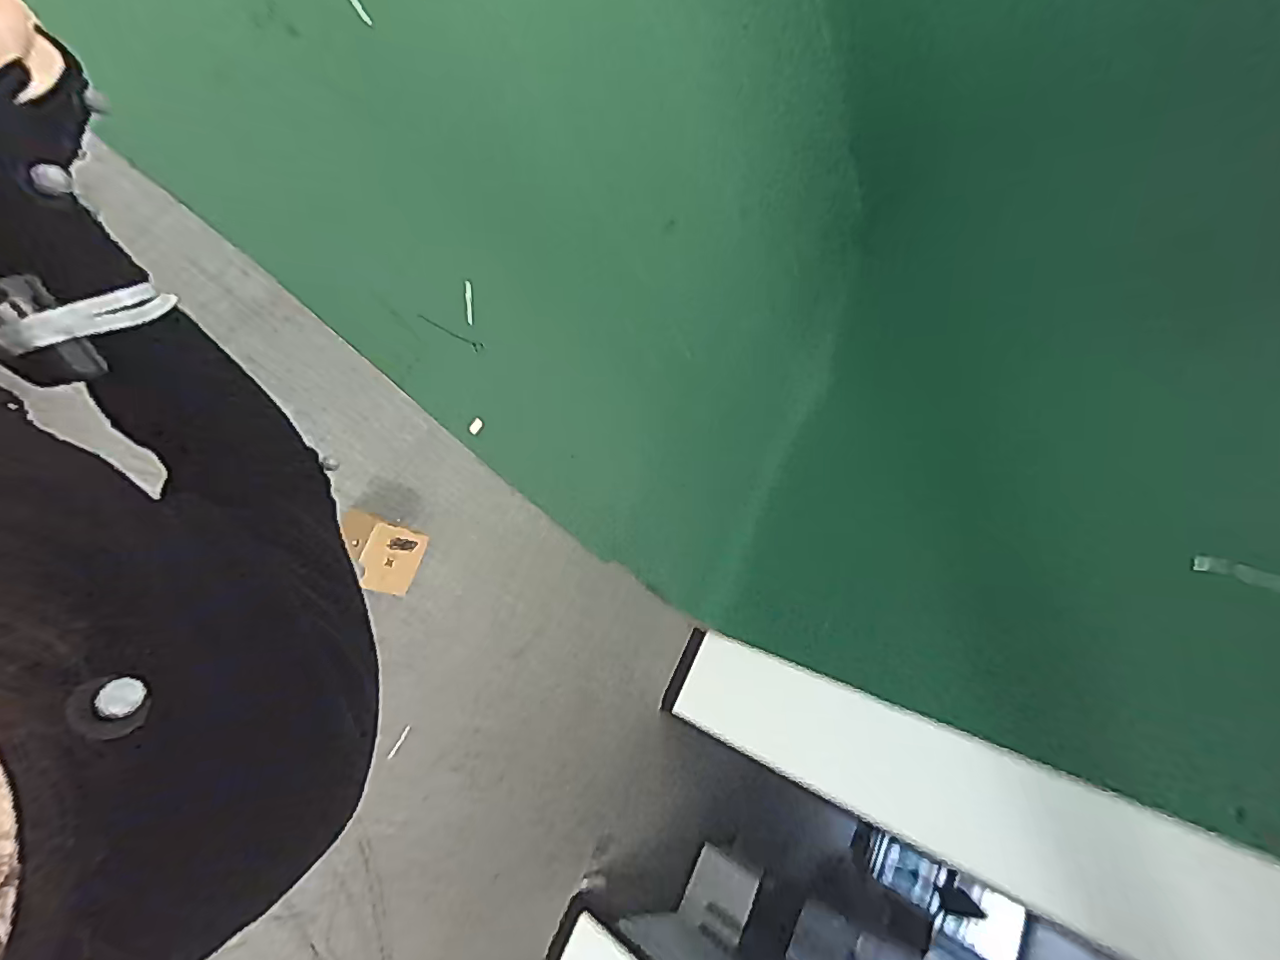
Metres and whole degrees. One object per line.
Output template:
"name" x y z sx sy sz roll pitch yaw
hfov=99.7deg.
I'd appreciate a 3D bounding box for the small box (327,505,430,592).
"small box" -0.719 0.184 1.479 0.168 0.176 0.179 33 76 -49
